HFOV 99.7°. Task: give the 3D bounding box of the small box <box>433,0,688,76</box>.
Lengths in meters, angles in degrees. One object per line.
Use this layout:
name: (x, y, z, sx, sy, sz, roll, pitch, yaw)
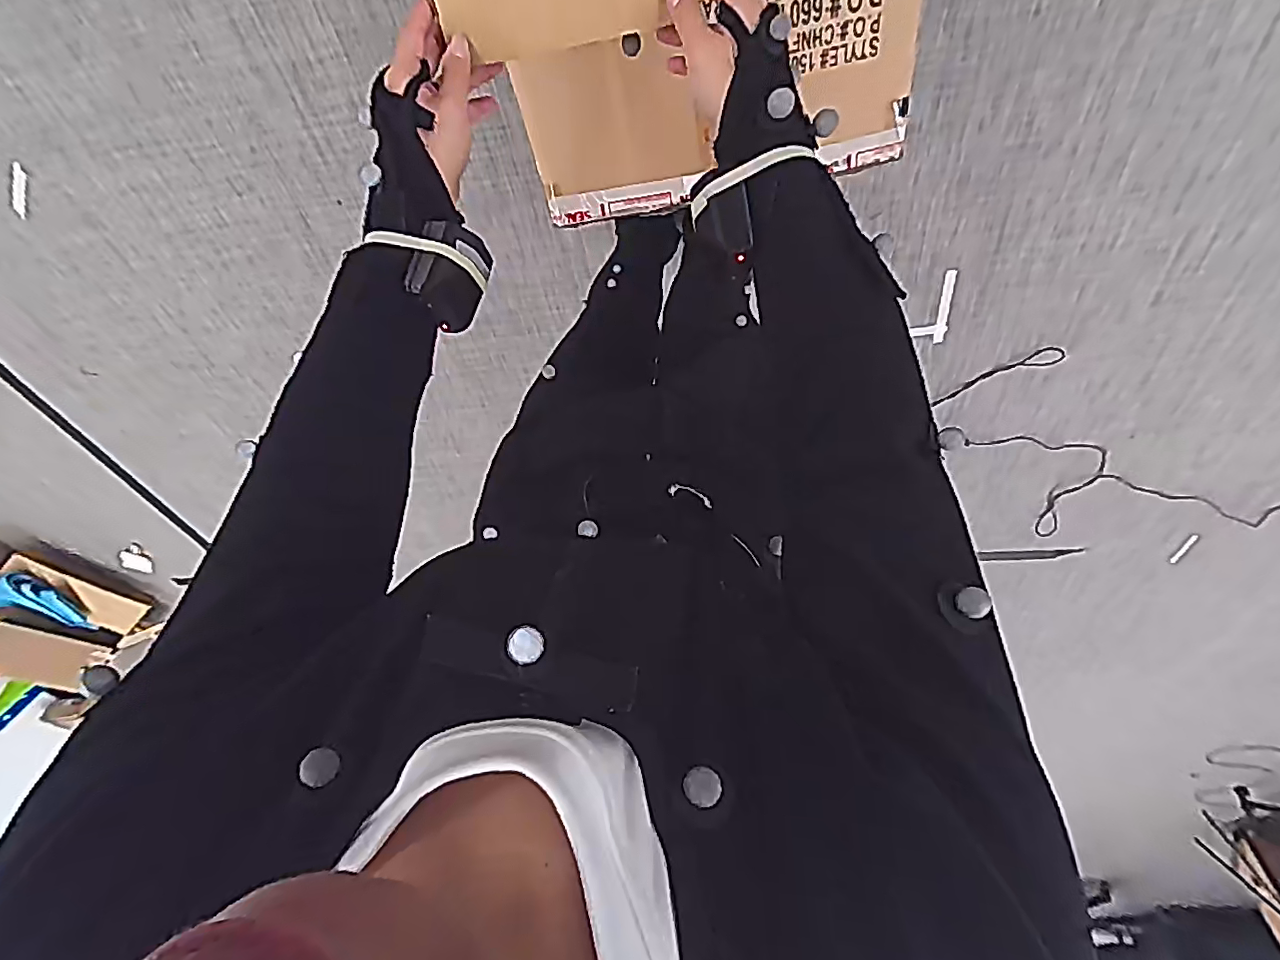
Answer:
small box: (-0.059, -0.421, 0.388, 0.179, 0.176, 0.168, -3, 136, 11)
